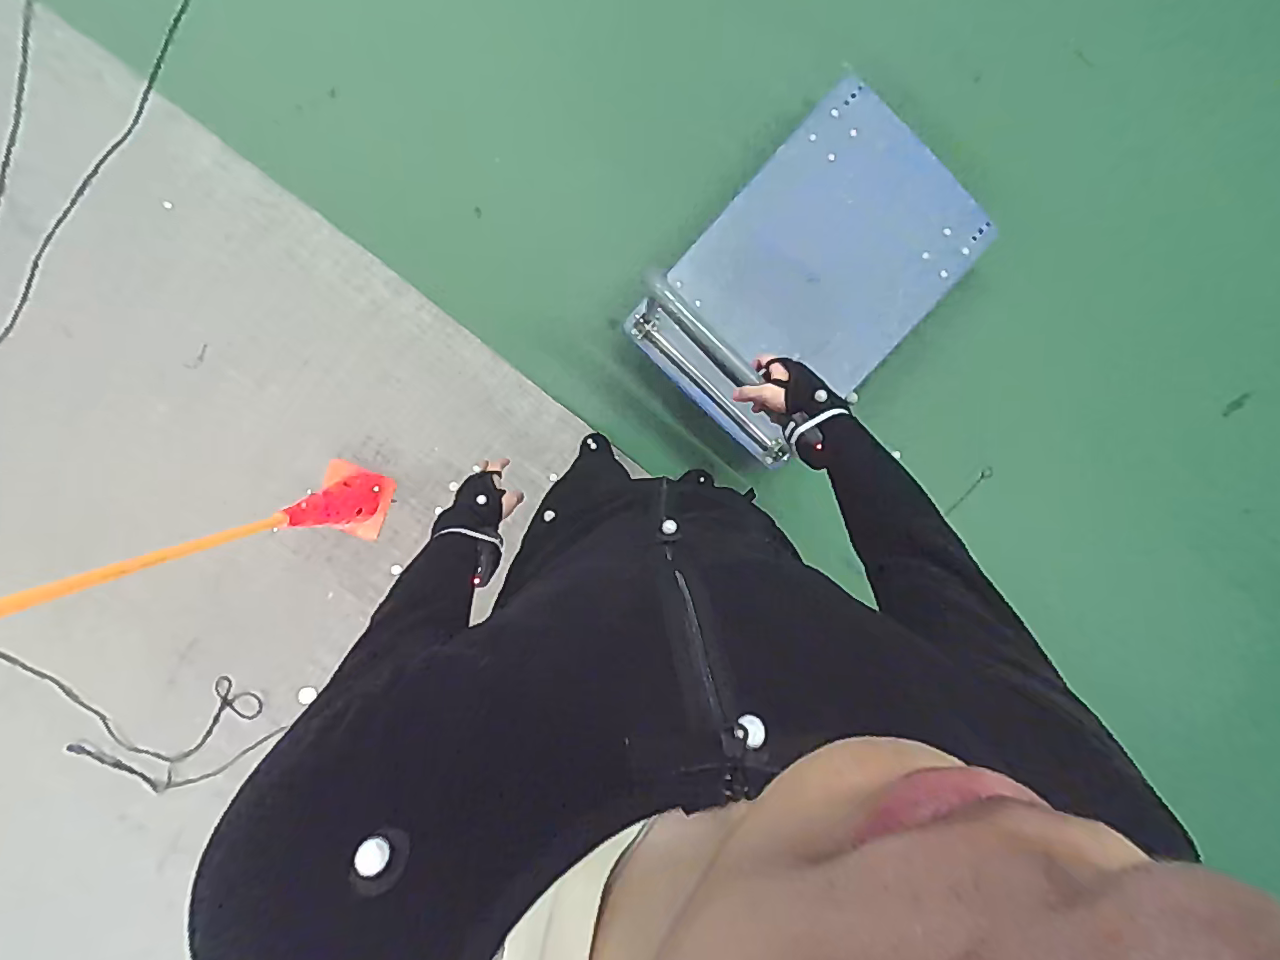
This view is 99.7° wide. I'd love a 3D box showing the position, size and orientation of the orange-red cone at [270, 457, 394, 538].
[{"bbox_3d":[-0.841,0.068,1.419,0.199,0.360,0.198,23,94,-3],"label":"orange-red cone"}]
